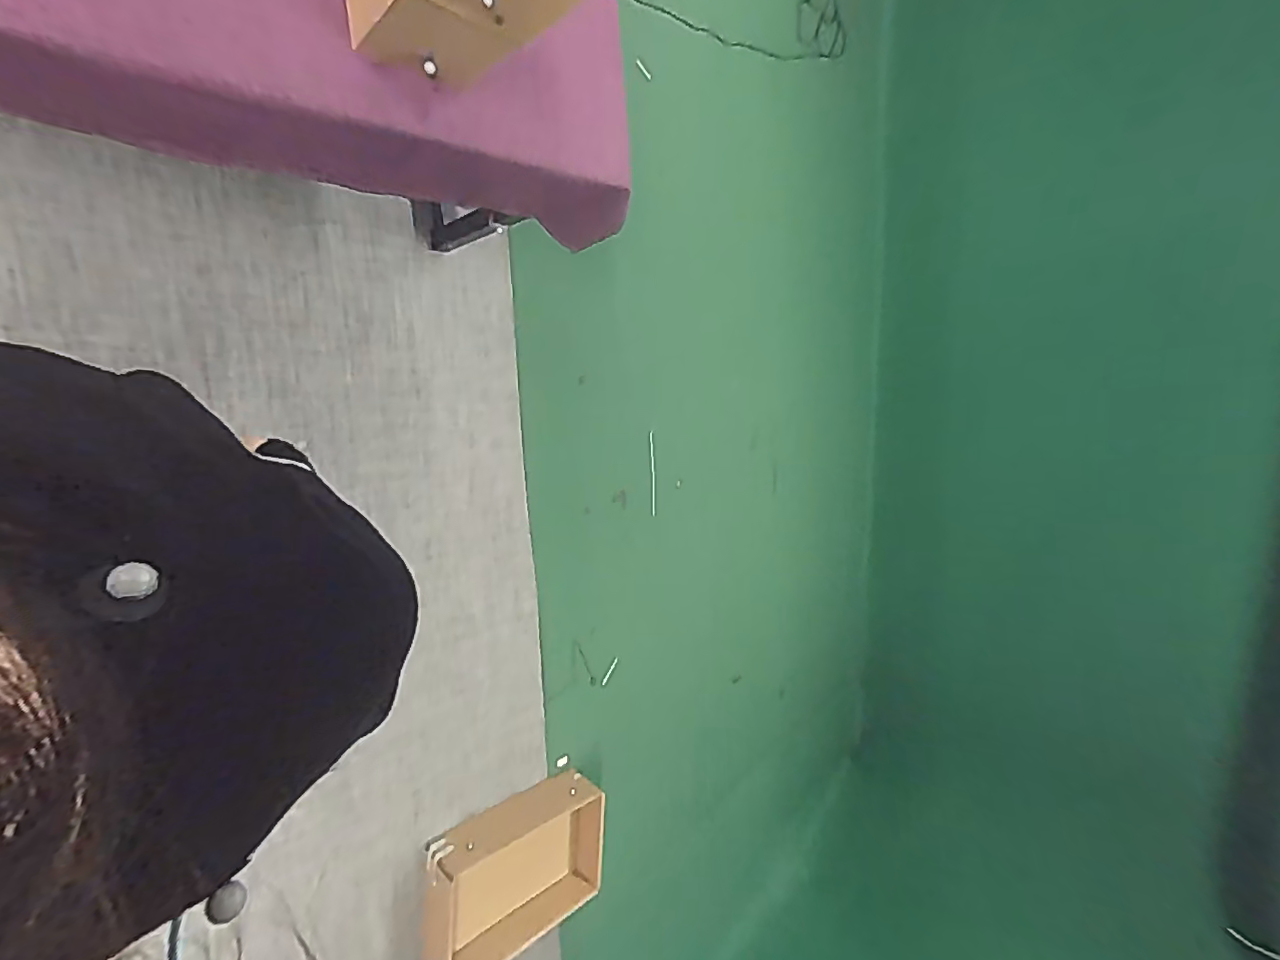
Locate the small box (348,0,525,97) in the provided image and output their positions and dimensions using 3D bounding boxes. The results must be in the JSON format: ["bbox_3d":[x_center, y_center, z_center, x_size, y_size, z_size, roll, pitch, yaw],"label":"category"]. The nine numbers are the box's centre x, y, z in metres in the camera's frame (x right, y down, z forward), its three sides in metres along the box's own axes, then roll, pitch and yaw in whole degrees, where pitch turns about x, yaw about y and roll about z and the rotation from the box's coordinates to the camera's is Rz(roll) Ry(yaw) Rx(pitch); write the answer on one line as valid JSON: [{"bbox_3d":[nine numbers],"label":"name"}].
[{"bbox_3d":[-0.273,-0.655,0.709,0.168,0.176,0.179,-13,104,-45],"label":"small box"}]
